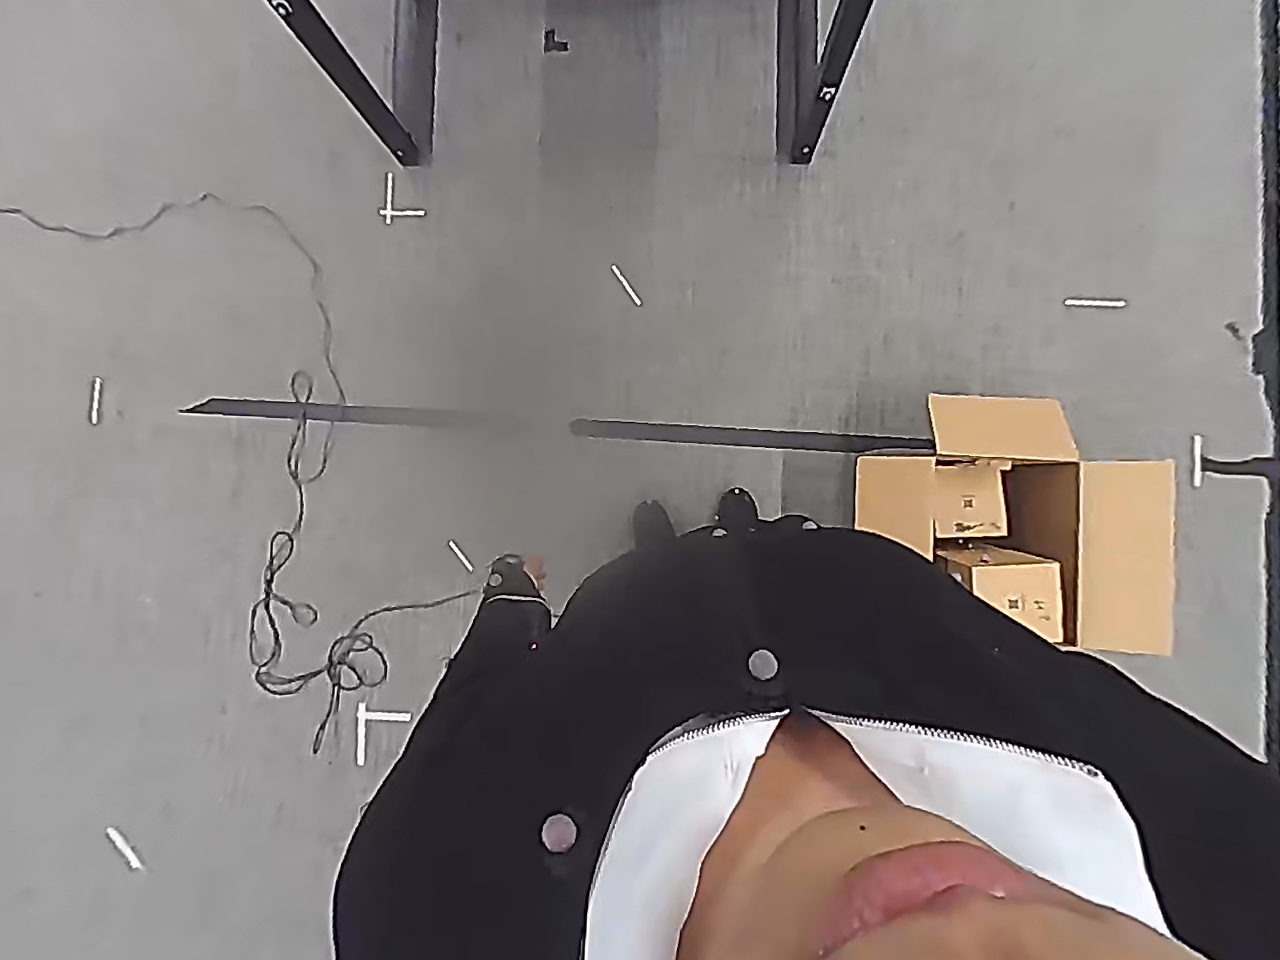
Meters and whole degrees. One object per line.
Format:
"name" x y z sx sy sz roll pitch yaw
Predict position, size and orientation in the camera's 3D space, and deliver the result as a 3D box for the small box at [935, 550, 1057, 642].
"small box" 0.773 0.250 1.196 0.179 0.176 0.168 -4 92 4
